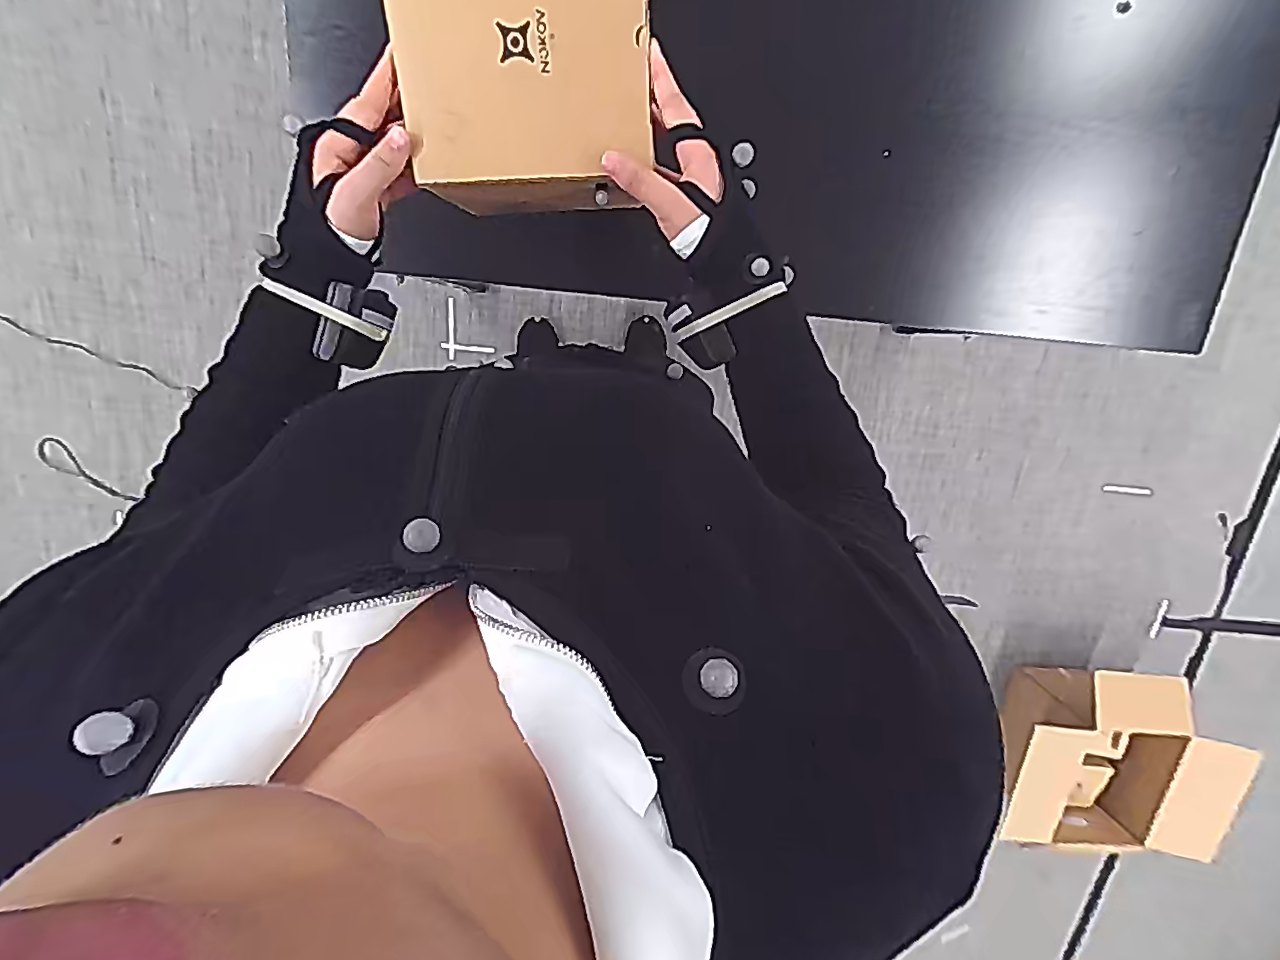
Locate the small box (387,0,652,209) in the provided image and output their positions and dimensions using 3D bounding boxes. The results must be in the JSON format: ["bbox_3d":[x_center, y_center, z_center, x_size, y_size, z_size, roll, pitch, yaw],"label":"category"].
[{"bbox_3d":[-0.085,-0.327,0.446,0.179,0.176,0.168,-4,110,-3],"label":"small box"}]
